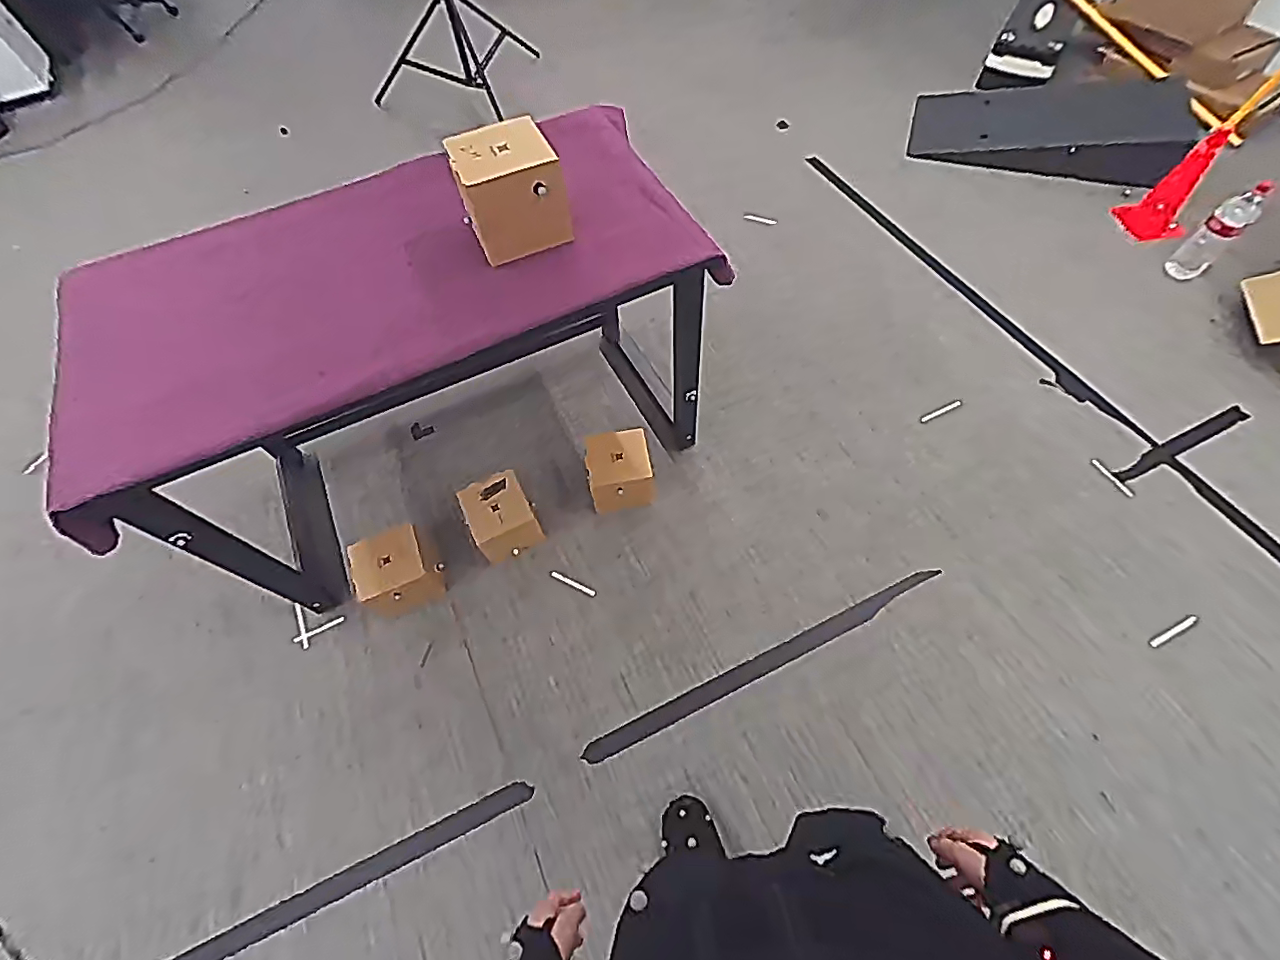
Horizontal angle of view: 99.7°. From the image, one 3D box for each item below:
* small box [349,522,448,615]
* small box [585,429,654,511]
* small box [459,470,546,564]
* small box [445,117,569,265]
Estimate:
[{"bbox_3d":[-0.649,0.246,1.463,0.179,0.176,0.168,-23,64,-10],"label":"small box"},{"bbox_3d":[-0.056,-0.025,1.576,0.179,0.176,0.168,-10,62,-1],"label":"small box"},{"bbox_3d":[-0.382,0.108,1.521,0.168,0.176,0.179,-25,64,-10],"label":"small box"},{"bbox_3d":[-0.246,-0.551,1.041,0.179,0.176,0.168,-23,62,-9],"label":"small box"}]
